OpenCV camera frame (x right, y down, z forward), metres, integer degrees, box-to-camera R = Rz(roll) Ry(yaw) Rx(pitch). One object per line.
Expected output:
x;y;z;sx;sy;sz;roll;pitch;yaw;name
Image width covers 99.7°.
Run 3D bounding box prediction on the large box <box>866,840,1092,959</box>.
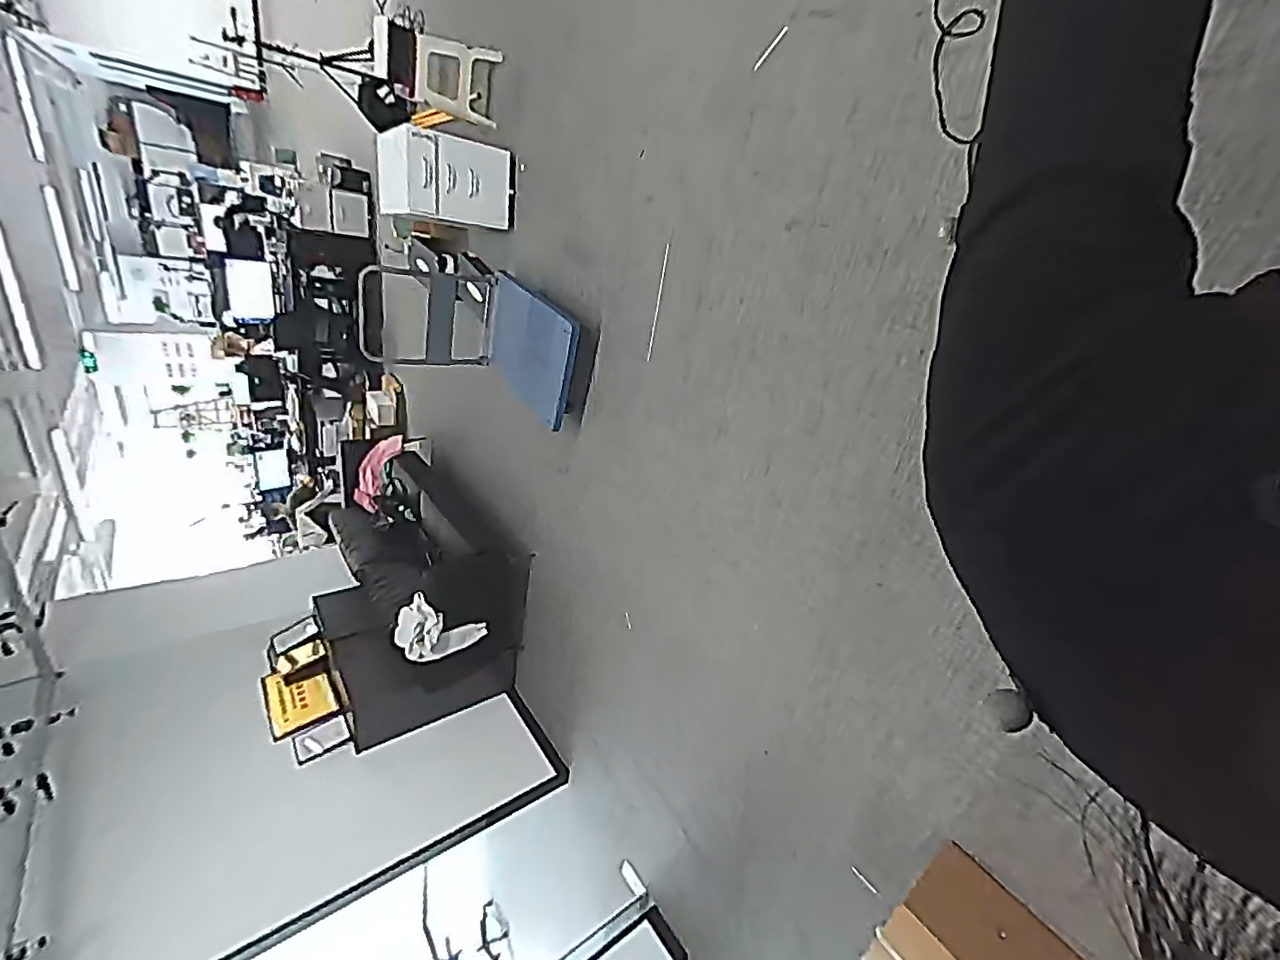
0.904;1.299;1.445;0.408;0.320;0.320;35;125;41;large box
